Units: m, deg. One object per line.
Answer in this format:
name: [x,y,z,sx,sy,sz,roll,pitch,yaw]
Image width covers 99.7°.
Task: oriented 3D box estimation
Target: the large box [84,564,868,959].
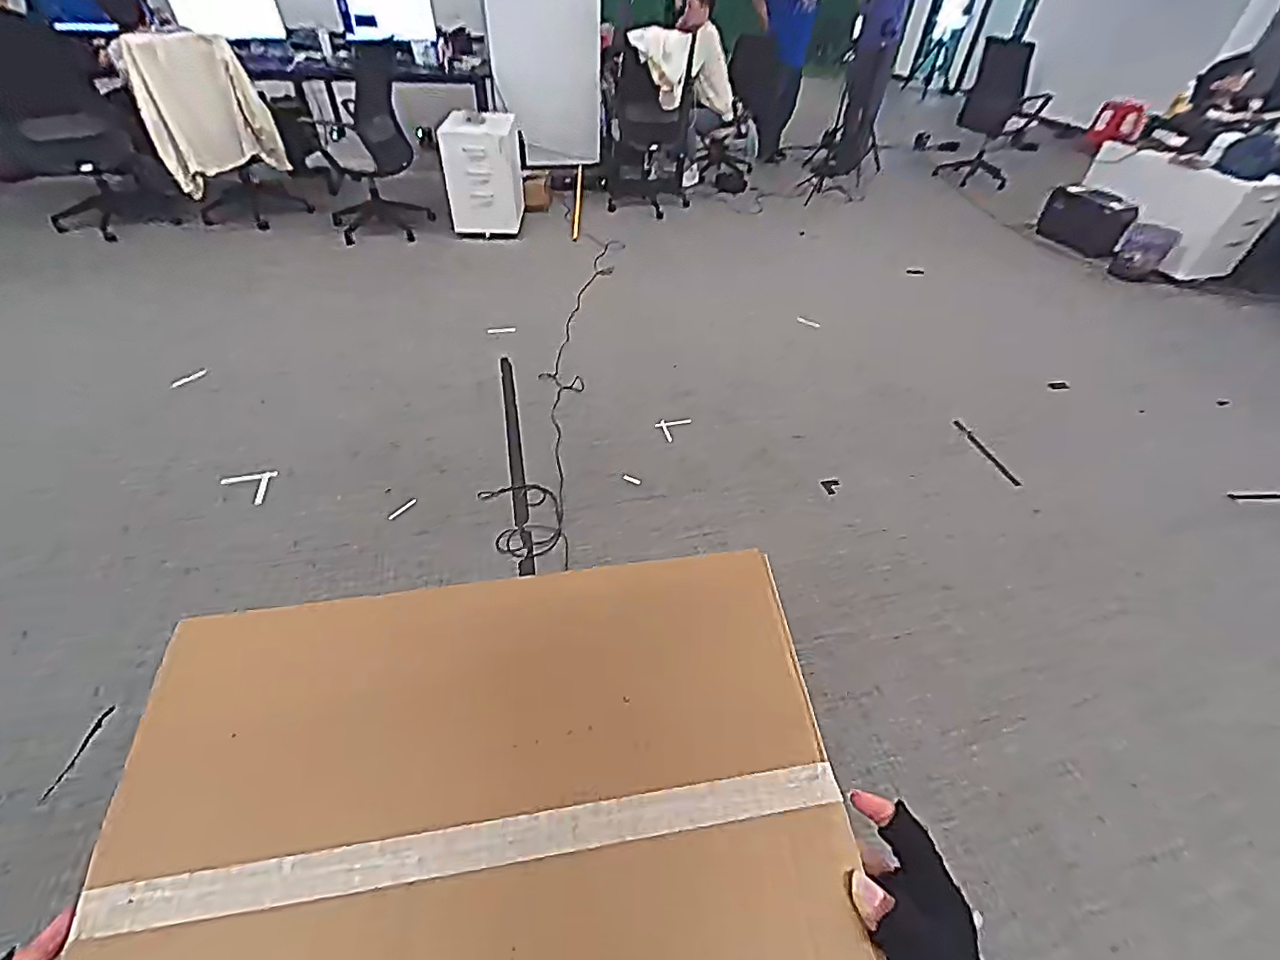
large box: [-0.091,0.295,0.427,0.408,0.320,0.320,-6,55,-6]
